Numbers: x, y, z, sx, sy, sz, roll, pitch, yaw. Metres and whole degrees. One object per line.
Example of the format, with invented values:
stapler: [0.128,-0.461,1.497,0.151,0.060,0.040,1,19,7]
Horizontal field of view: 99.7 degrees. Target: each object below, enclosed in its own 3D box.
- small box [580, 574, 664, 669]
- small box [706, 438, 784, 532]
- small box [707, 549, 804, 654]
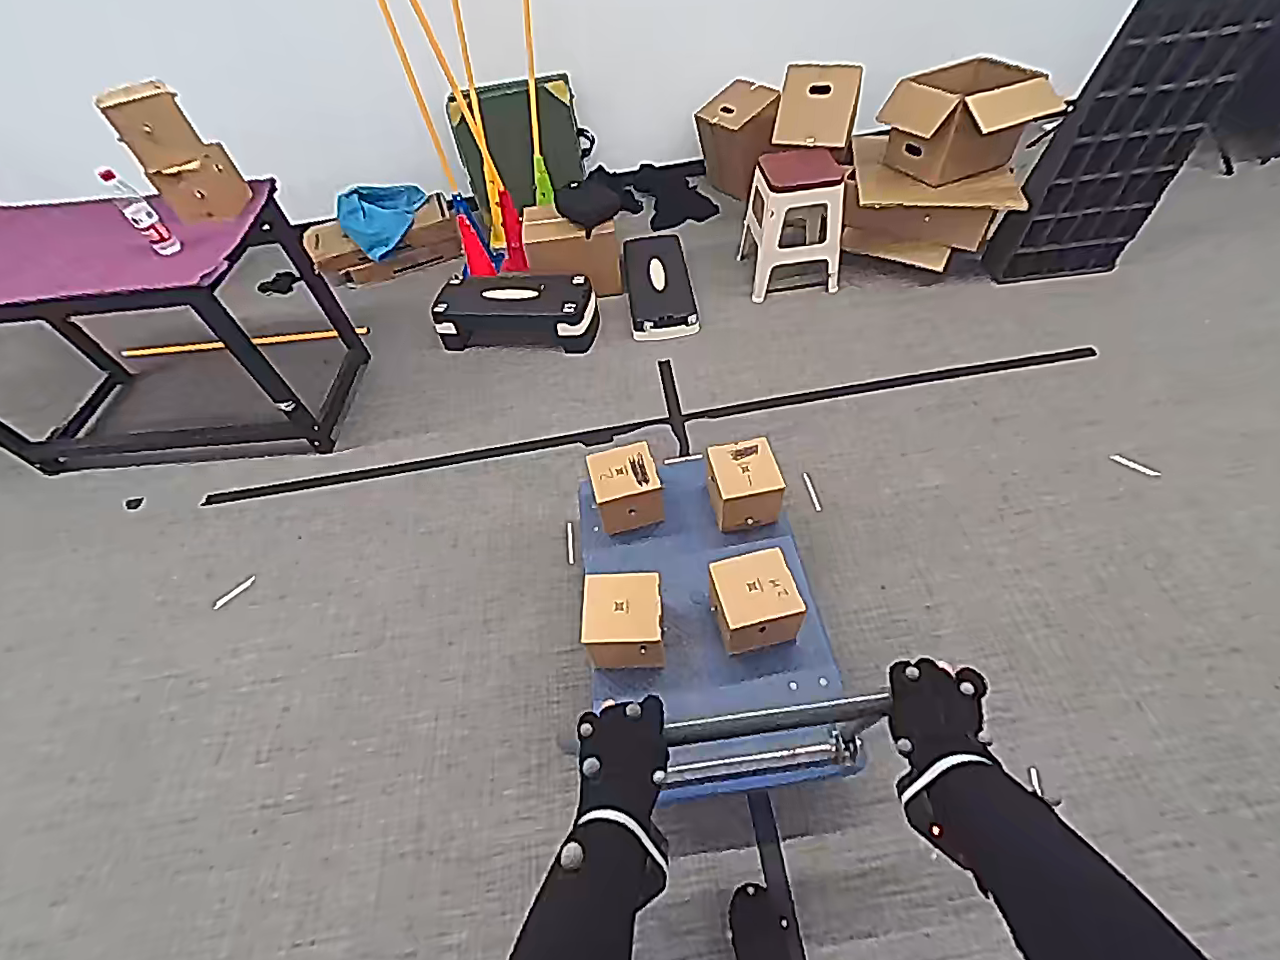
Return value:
small box: [-0.038,0.335,1.265,0.179,0.176,0.168,-3,53,3]
small box: [0.275,0.016,1.467,0.168,0.176,0.179,-11,54,-2]
small box: [0.263,0.289,1.265,0.179,0.176,0.168,-13,53,-3]
